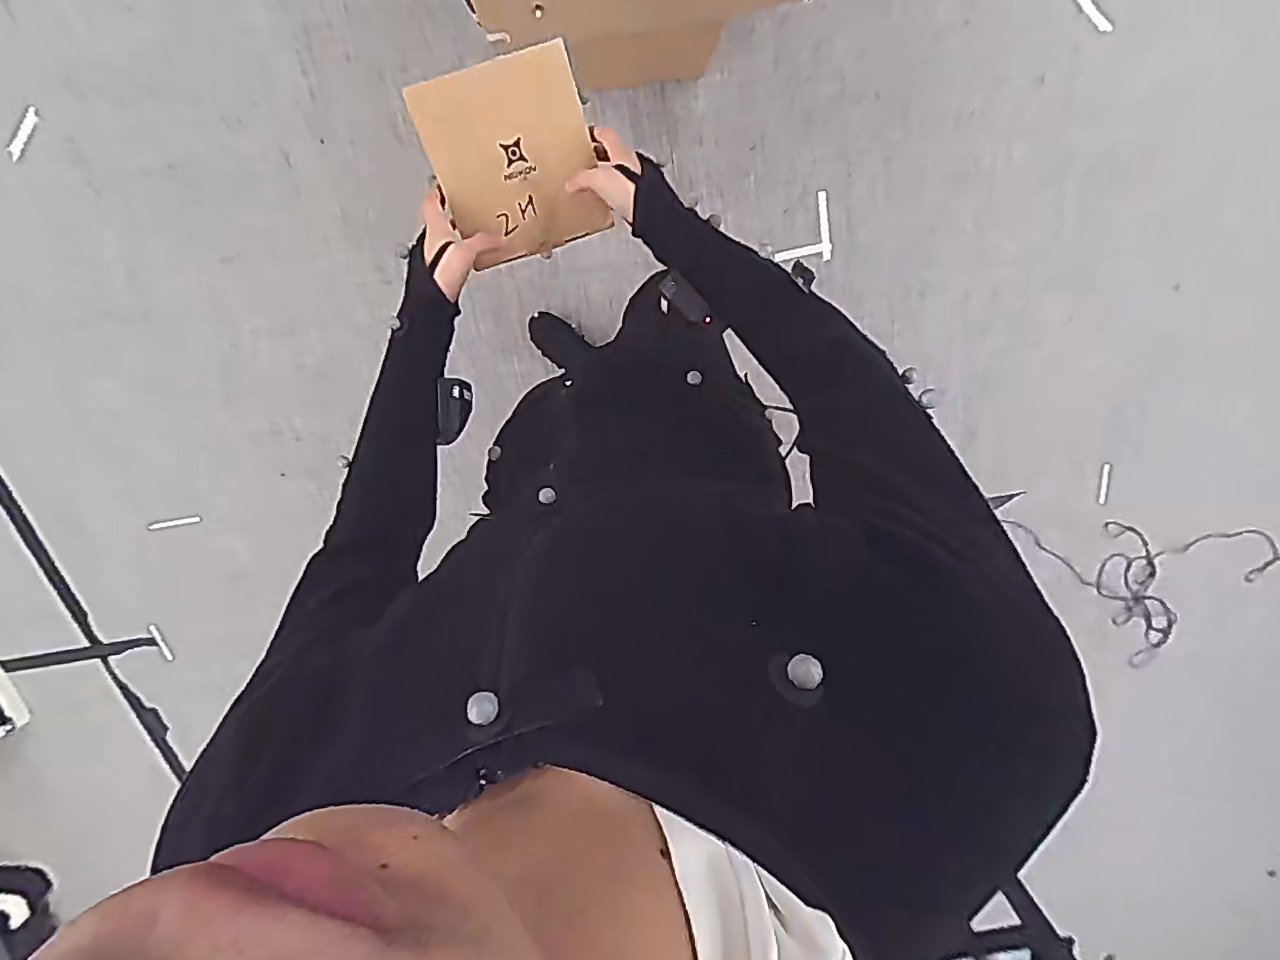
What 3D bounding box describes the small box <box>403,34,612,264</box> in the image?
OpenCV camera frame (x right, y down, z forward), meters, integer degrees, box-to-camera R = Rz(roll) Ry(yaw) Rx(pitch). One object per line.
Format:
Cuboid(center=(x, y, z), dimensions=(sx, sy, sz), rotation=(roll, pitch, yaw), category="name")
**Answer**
Cuboid(center=(-0.144, -0.366, 0.627), dimensions=(0.168, 0.176, 0.179), rotation=(-19, 118, -2), category="small box")
